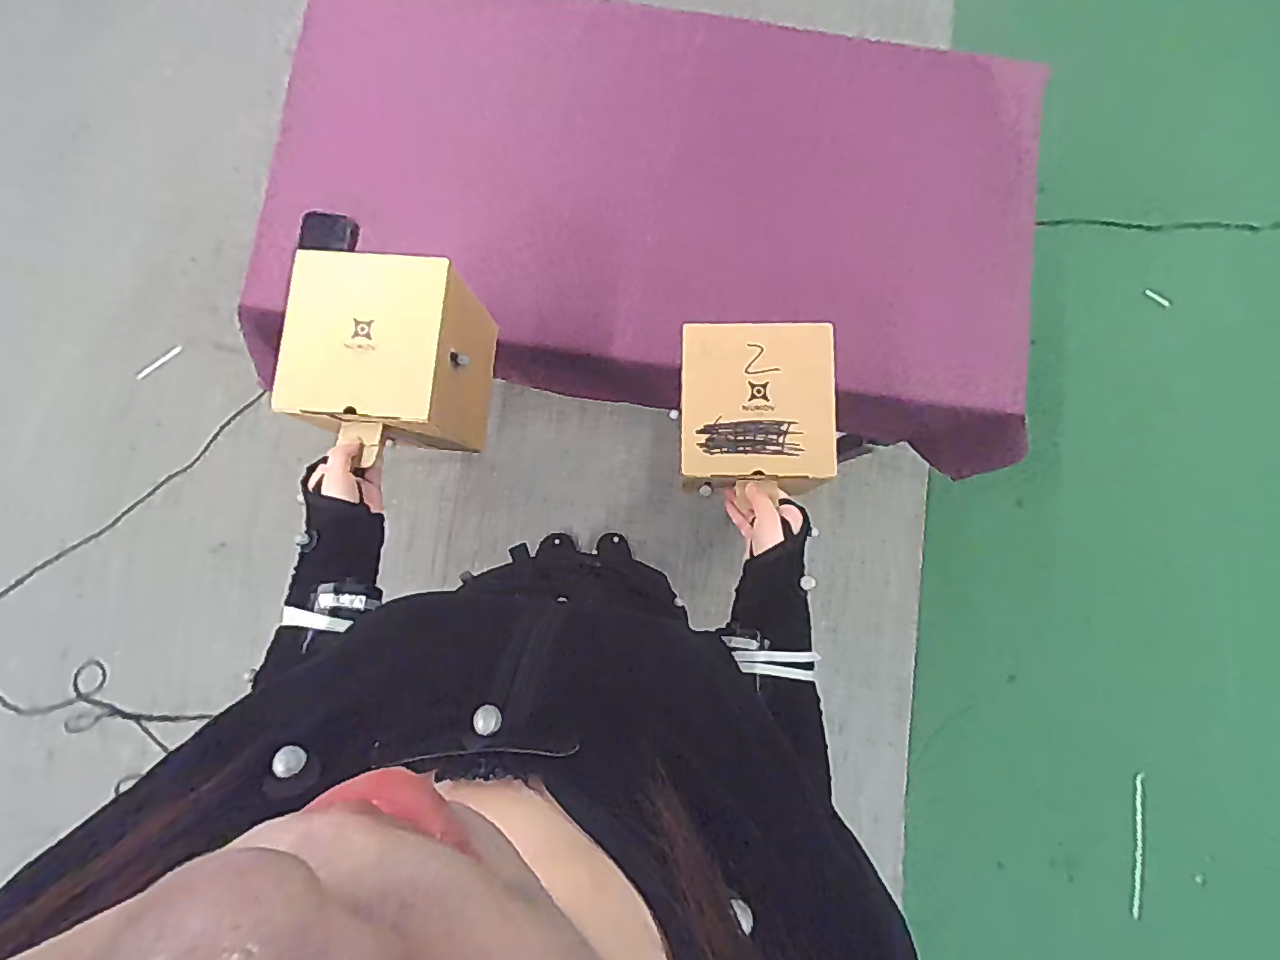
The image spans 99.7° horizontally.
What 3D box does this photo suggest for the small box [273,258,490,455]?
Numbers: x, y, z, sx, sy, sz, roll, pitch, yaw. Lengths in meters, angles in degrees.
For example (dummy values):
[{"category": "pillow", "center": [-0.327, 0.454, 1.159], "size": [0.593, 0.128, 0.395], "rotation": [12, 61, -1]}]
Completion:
[{"category": "small box", "center": [-0.286, -0.135, 0.639], "size": [0.168, 0.176, 0.179], "rotation": [4, 83, 2]}]
